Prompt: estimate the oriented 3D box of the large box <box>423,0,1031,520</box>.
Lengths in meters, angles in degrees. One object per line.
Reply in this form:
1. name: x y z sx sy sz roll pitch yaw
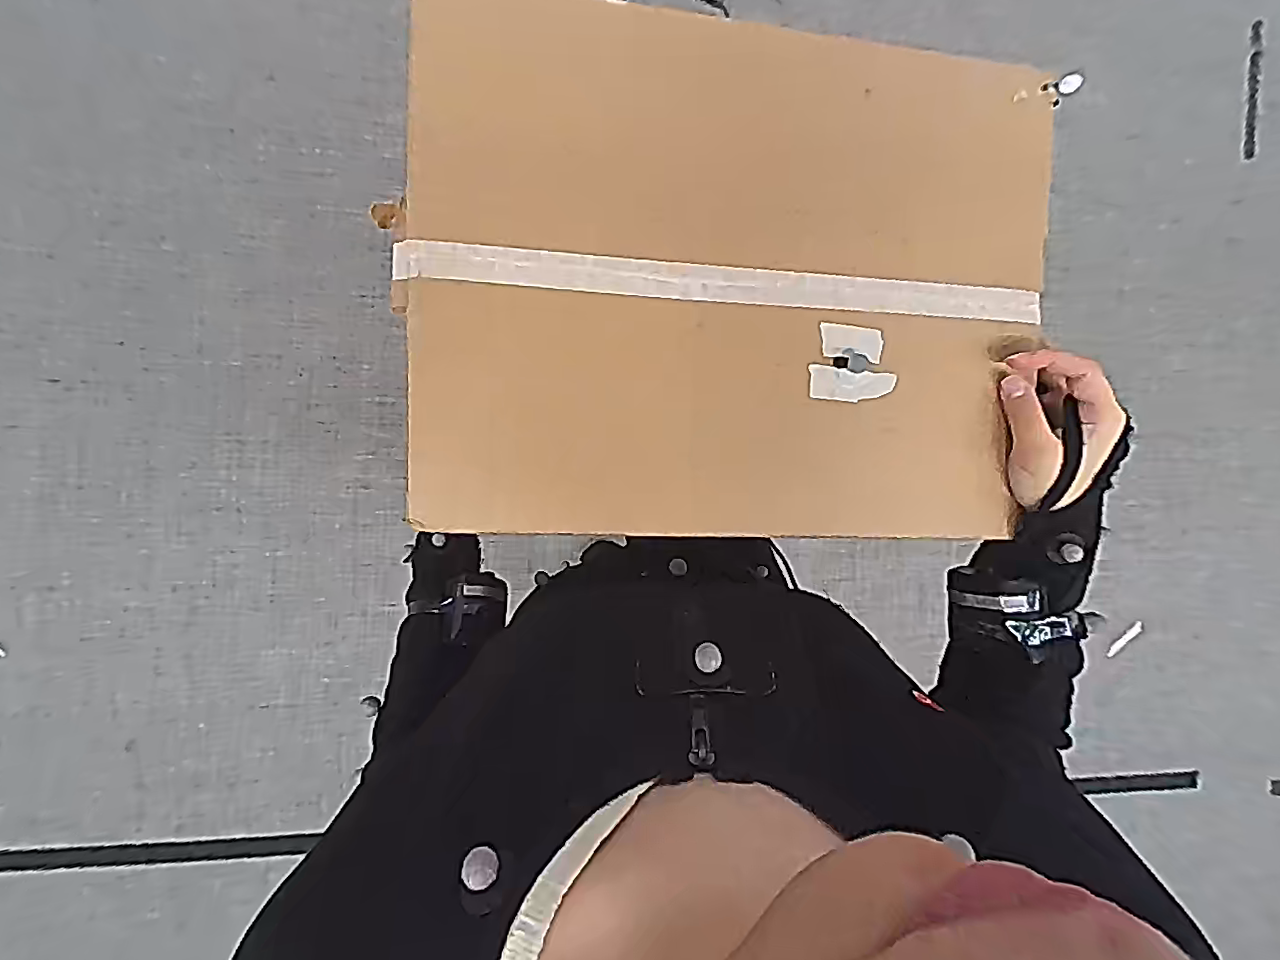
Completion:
1. large box: 0.044 -0.138 0.492 0.408 0.320 0.320 1 94 -10
